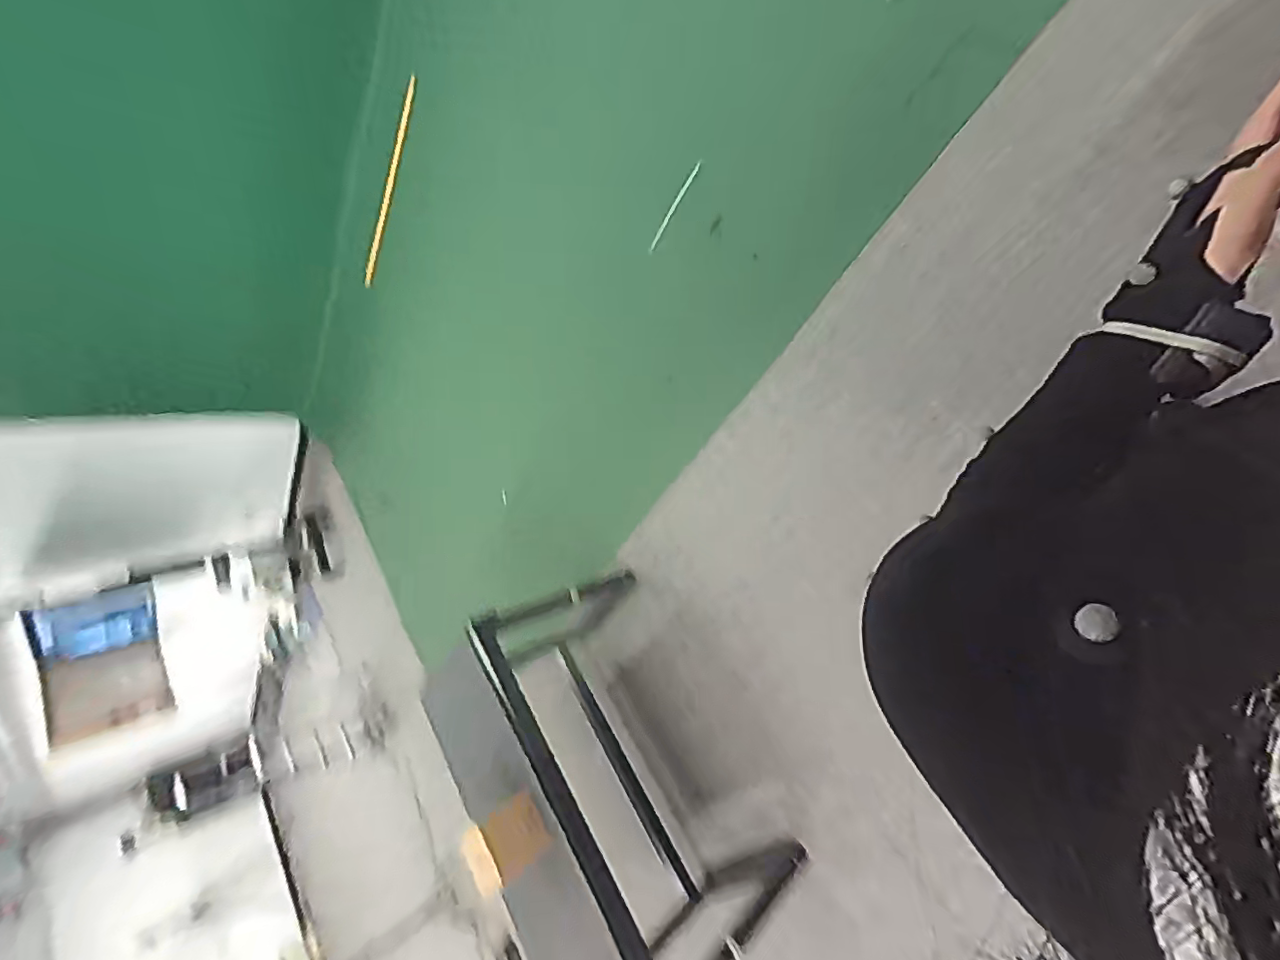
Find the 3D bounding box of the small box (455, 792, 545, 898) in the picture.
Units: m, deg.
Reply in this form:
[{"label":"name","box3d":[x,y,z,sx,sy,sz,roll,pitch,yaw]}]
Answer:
[{"label":"small box","box3d":[-0.393,1.025,1.526,0.168,0.176,0.179,53,129,24]}]
